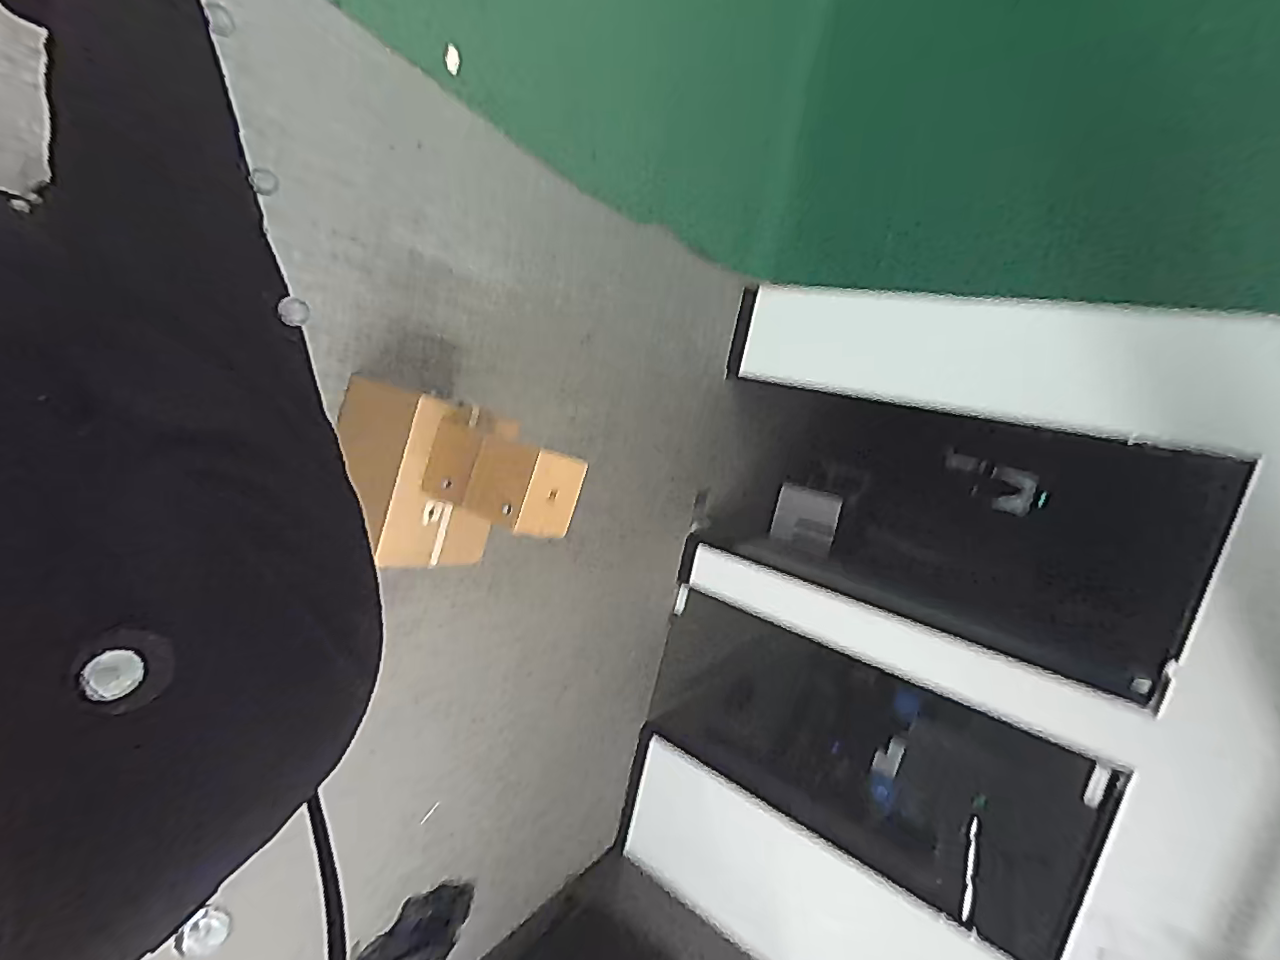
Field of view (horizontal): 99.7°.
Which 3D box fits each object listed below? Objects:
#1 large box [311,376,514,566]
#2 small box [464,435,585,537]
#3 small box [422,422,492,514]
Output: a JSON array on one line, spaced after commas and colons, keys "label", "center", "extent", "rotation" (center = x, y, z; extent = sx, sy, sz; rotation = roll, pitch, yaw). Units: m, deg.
[{"label": "large box", "center": [-0.590, -0.020, 1.413], "extent": [0.320, 0.320, 0.408], "rotation": [13, 95, -56]}, {"label": "small box", "center": [-0.254, 0.012, 1.177], "extent": [0.168, 0.176, 0.179], "rotation": [16, 92, -59]}, {"label": "small box", "center": [-0.383, -0.024, 1.270], "extent": [0.168, 0.176, 0.179], "rotation": [13, 94, -59]}]
